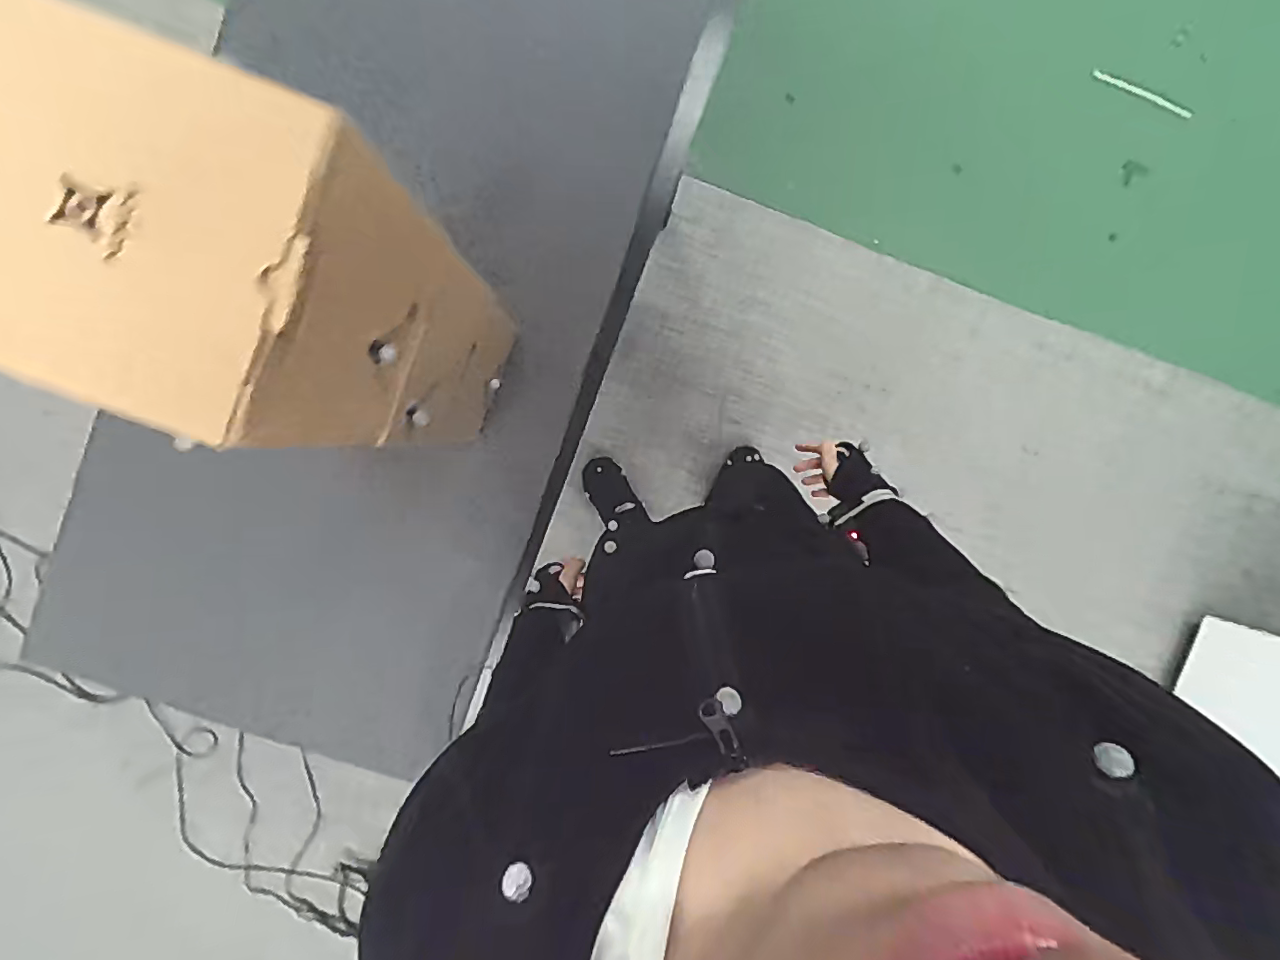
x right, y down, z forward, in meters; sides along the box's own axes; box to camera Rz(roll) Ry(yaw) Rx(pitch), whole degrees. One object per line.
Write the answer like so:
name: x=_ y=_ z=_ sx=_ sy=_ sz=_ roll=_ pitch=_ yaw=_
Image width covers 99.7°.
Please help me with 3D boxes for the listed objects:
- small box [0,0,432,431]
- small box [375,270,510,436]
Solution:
small box: x=-0.251 y=-0.130 z=0.309 sx=0.179 sy=0.176 sz=0.168 roll=19 pitch=92 yaw=-4
small box: x=-0.274 y=-0.154 z=0.634 sx=0.179 sy=0.176 sz=0.168 roll=21 pitch=93 yaw=-4
